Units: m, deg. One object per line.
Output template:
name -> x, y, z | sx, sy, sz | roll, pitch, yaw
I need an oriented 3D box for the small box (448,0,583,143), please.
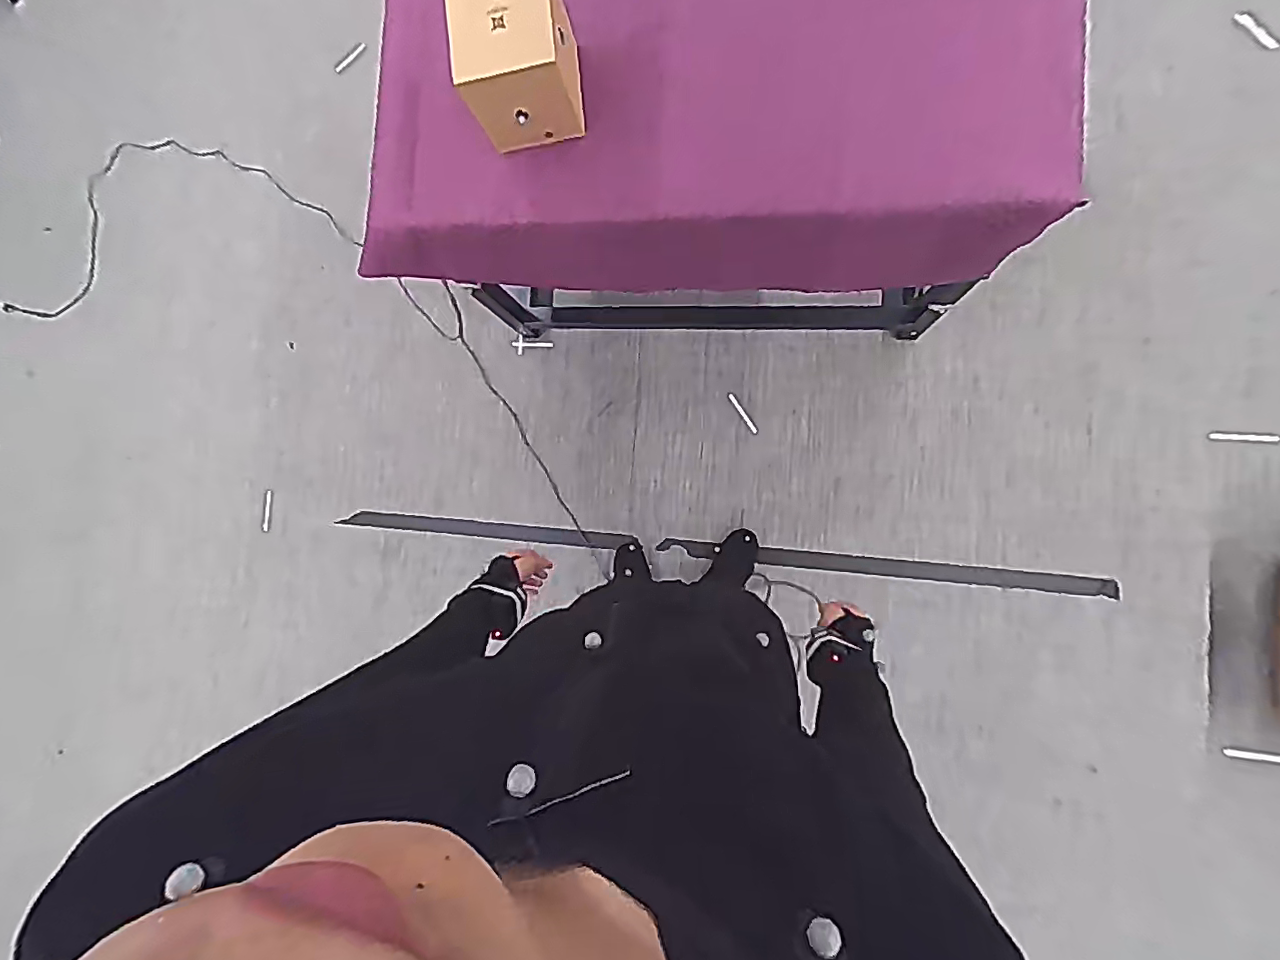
small box -> -0.196, -0.689, 0.889 | 0.168, 0.176, 0.179 | -6, 86, 8
